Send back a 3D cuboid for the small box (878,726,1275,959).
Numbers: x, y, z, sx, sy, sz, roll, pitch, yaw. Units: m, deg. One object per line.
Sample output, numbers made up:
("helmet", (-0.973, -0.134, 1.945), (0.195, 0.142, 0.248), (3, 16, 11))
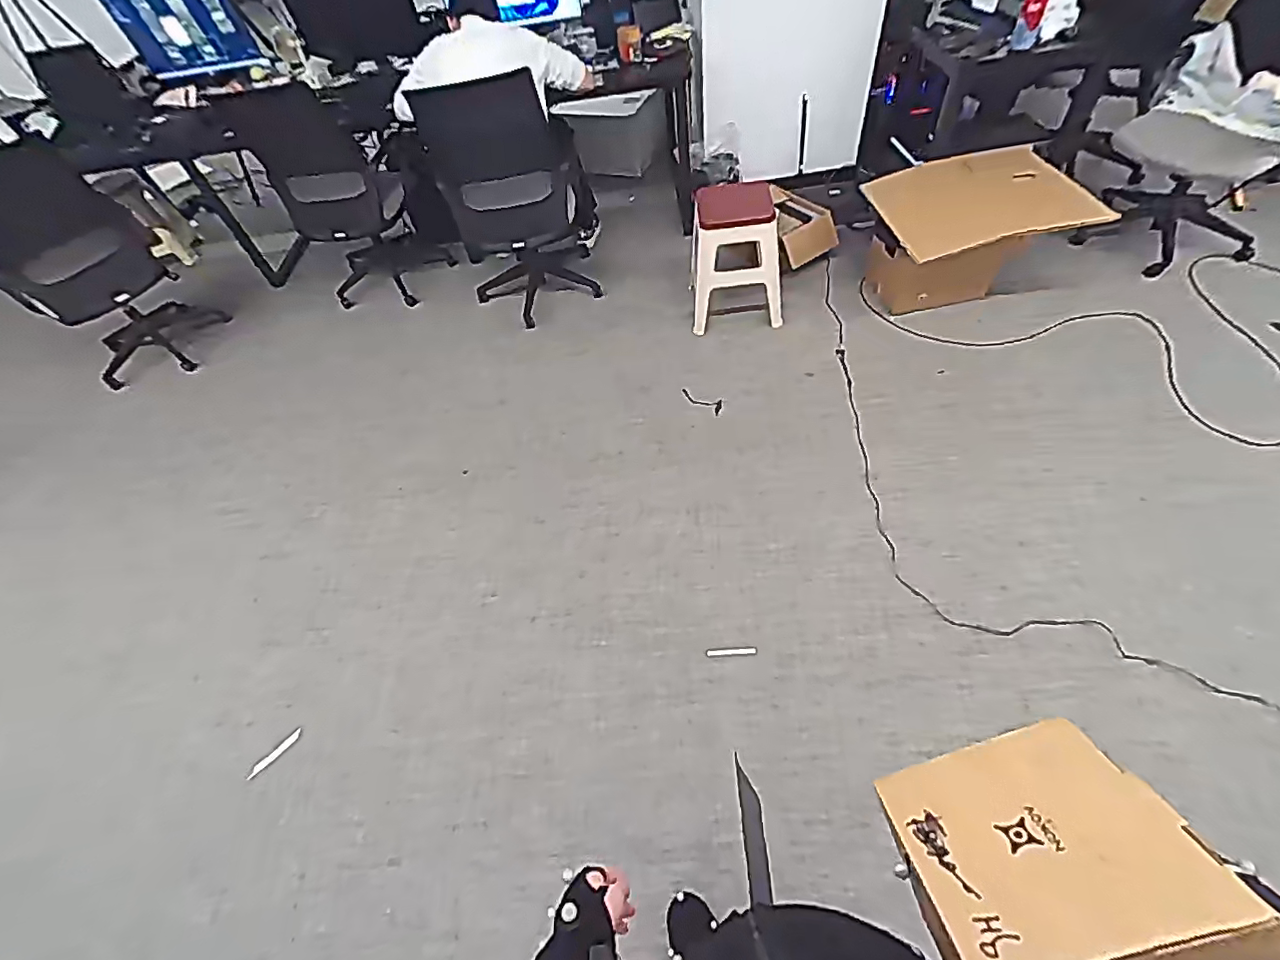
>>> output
("small box", (0.322, 0.338, 0.425), (0.179, 0.176, 0.168), (-21, 14, 7))
